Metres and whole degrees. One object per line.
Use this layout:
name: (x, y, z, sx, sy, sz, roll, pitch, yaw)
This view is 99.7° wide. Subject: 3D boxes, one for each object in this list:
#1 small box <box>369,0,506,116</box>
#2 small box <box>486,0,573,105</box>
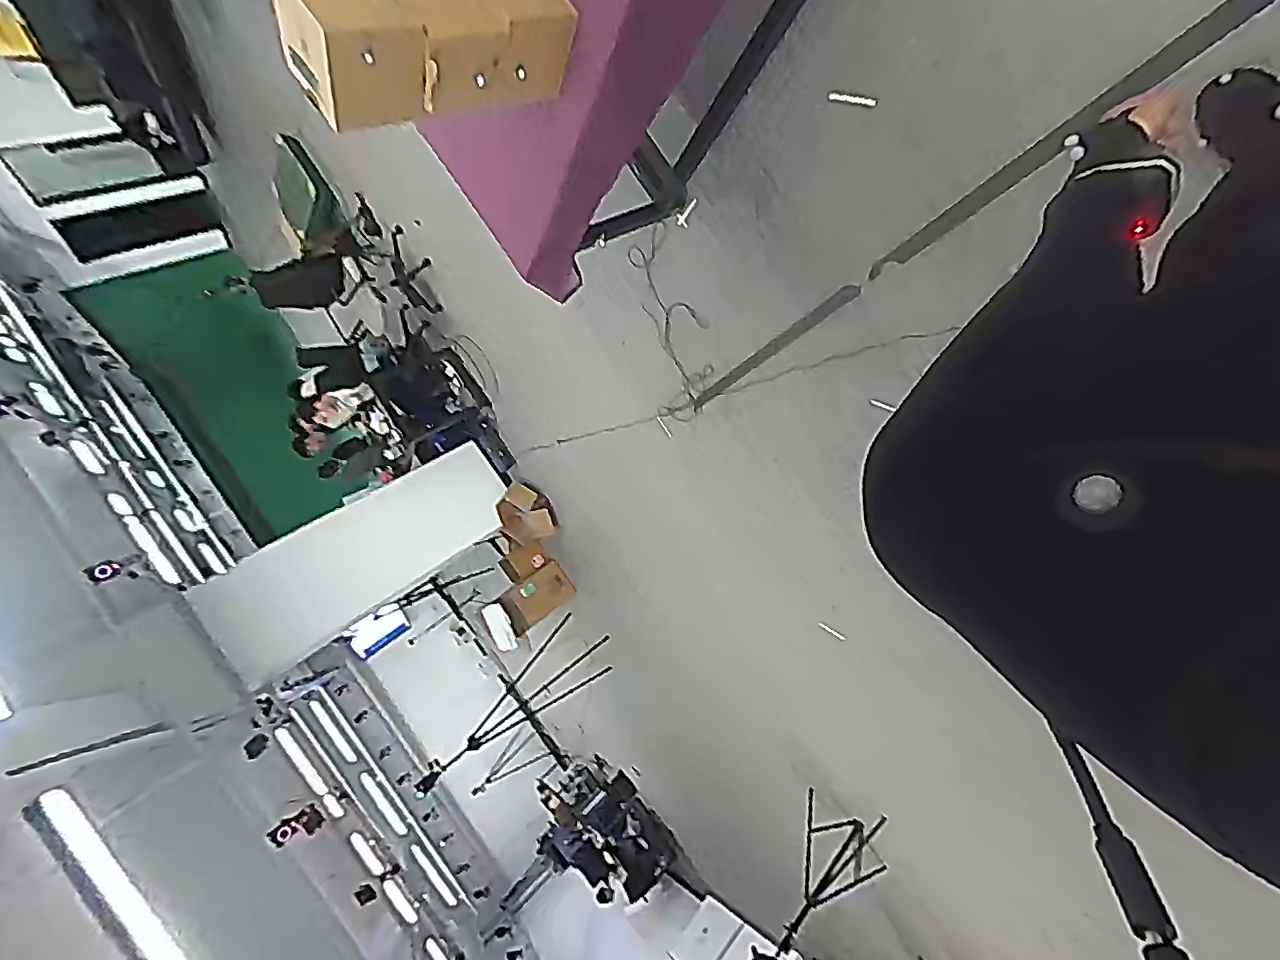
small box: (-0.380, -0.829, 1.010, 0.179, 0.176, 0.168, 57, 151, -2)
small box: (-0.259, -0.907, 1.090, 0.168, 0.176, 0.179, 54, 150, 3)
